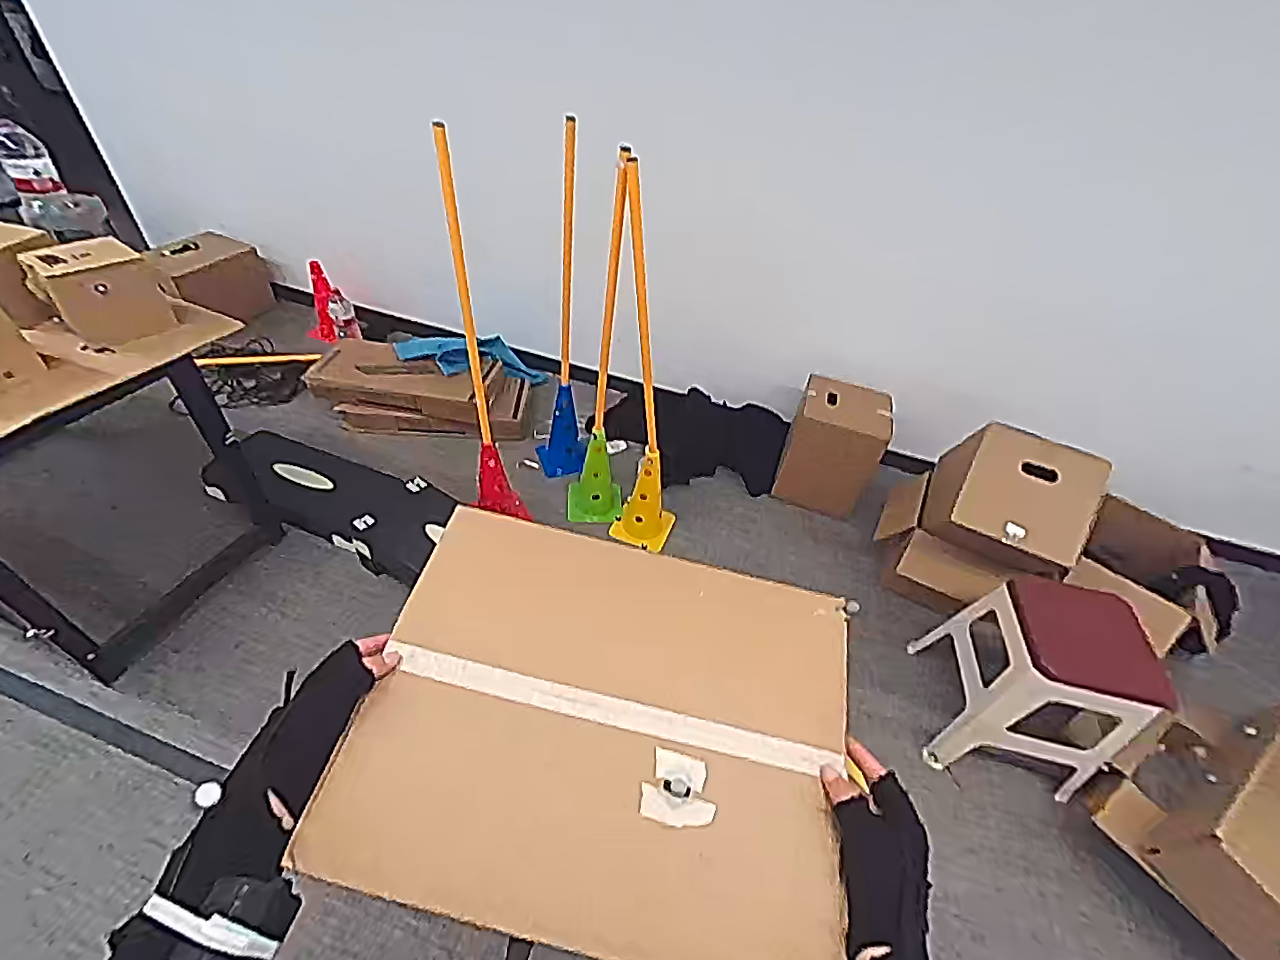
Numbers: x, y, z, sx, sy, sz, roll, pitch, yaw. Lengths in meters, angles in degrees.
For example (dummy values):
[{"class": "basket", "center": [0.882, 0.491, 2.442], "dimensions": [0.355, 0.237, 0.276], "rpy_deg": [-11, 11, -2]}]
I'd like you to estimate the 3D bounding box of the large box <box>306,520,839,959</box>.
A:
[{"class": "large box", "center": [-0.041, 0.290, 0.592], "dimensions": [0.408, 0.320, 0.320], "rpy_deg": [14, 55, 2]}]
